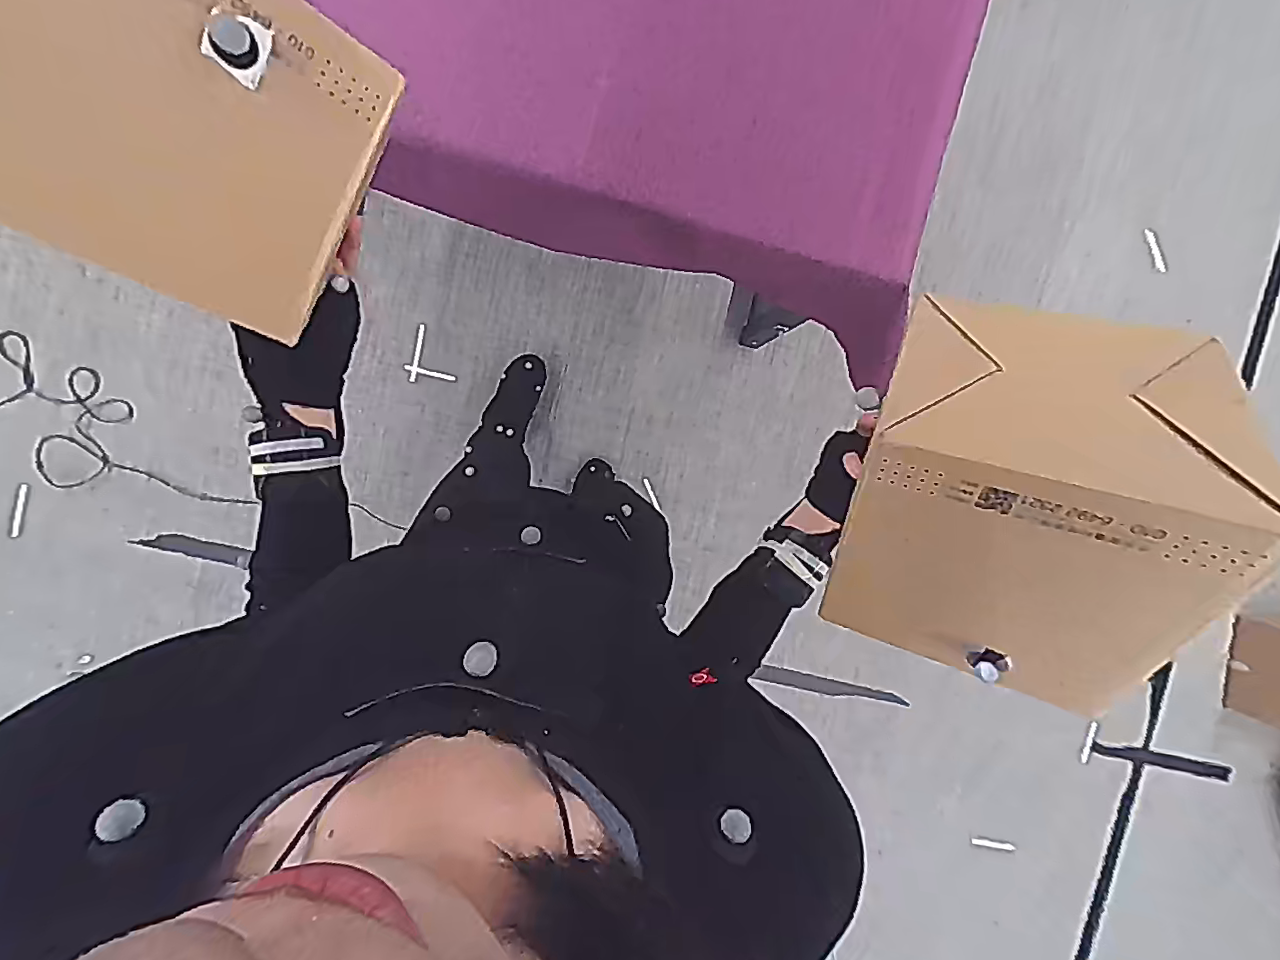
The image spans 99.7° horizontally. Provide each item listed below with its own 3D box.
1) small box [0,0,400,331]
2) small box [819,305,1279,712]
[{"bbox_3d":[-0.264,-0.214,0.332,0.168,0.179,0.176,22,98,-32],"label":"small box"},{"bbox_3d":[0.229,0.002,0.339,0.168,0.179,0.176,18,138,22],"label":"small box"}]
